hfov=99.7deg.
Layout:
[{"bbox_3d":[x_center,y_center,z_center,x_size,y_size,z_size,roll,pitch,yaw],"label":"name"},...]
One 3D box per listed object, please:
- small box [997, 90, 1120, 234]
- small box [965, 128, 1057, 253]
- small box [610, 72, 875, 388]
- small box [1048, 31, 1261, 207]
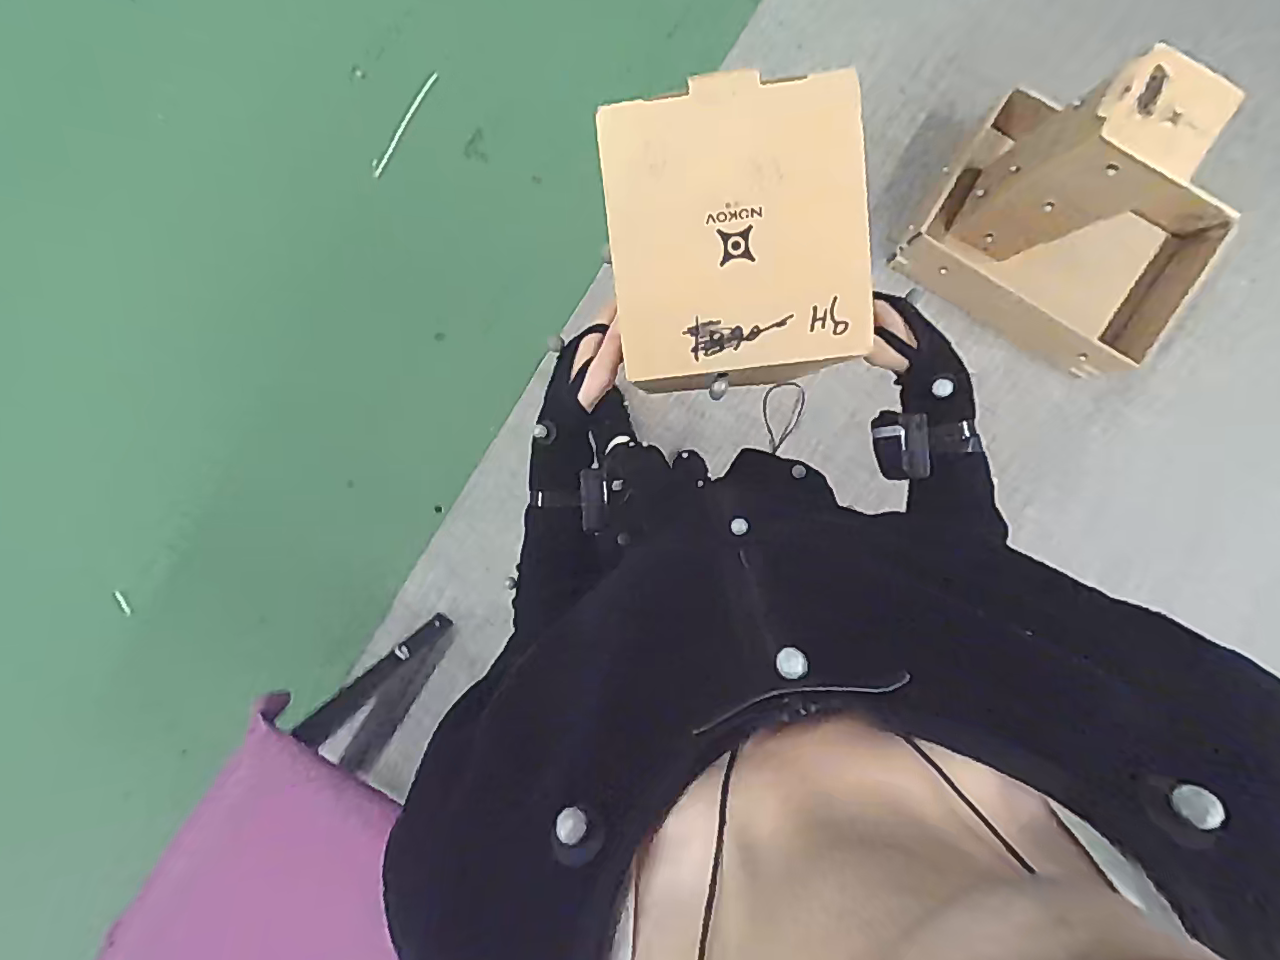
[{"bbox_3d":[0.892,-0.639,1.113,0.179,0.176,0.168,29,98,0],"label":"small box"},{"bbox_3d":[0.908,-0.667,1.273,0.168,0.176,0.179,28,96,0],"label":"small box"},{"bbox_3d":[0.073,-0.172,0.431,0.168,0.176,0.179,-5,96,6],"label":"small box"},{"bbox_3d":[0.882,-0.617,0.951,0.179,0.176,0.168,29,98,0],"label":"small box"}]
